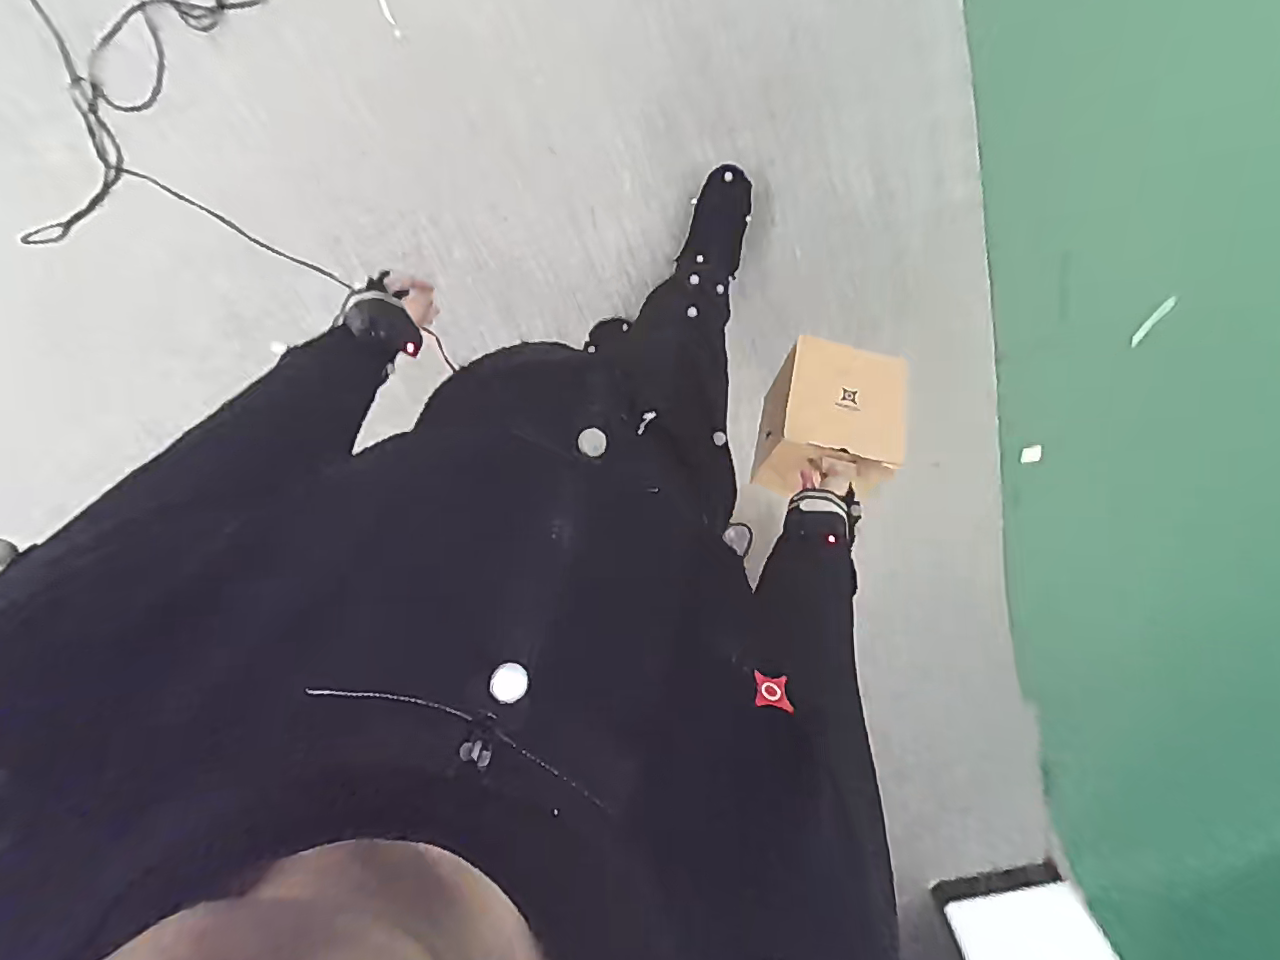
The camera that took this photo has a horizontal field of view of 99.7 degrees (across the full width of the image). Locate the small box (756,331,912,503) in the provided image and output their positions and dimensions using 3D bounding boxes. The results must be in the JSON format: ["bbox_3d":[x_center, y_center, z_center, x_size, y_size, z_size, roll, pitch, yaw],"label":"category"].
[{"bbox_3d":[0.277,-0.084,0.797,0.168,0.179,0.176,13,156,2],"label":"small box"}]
